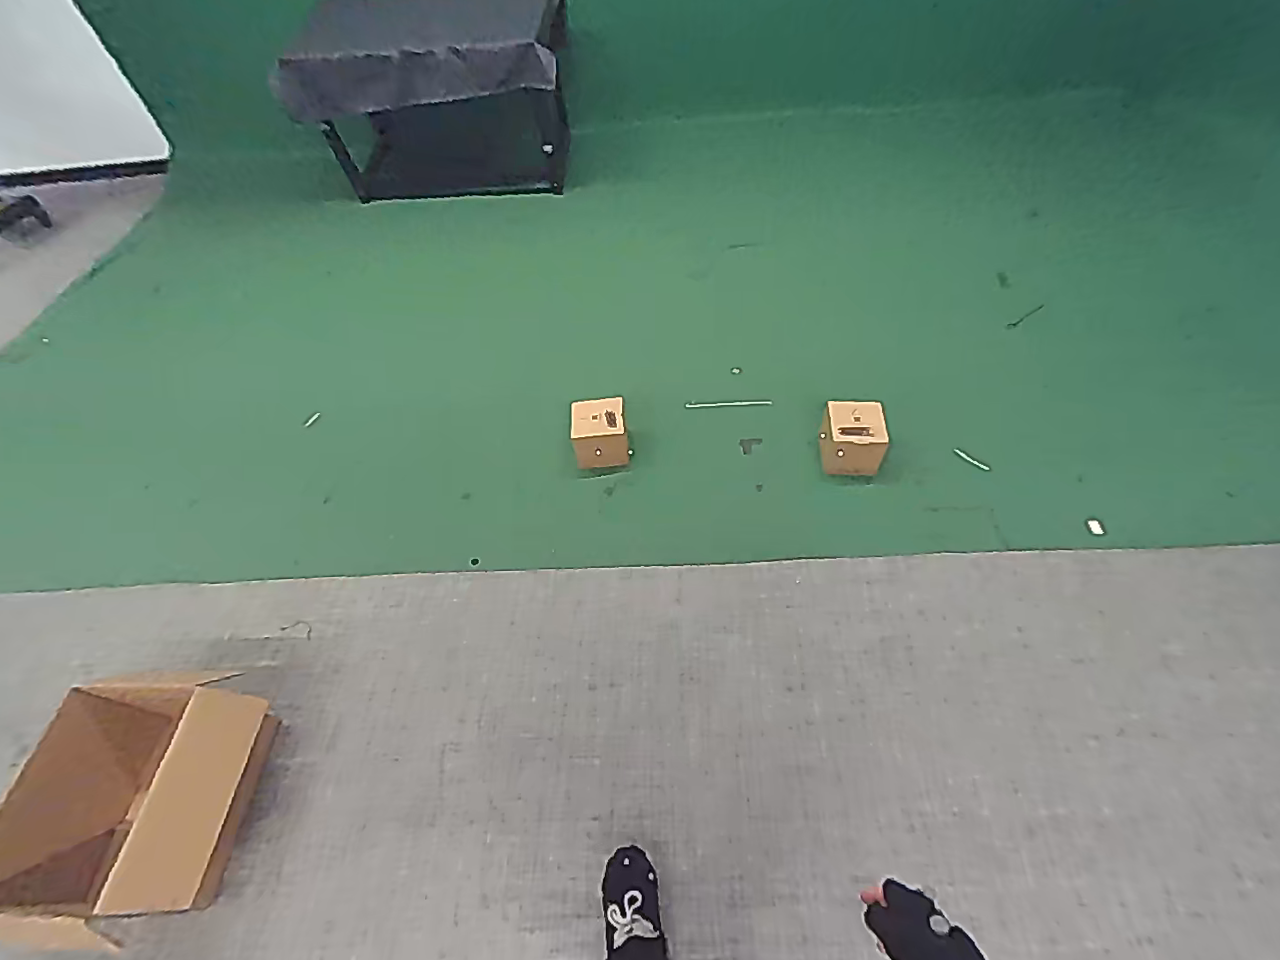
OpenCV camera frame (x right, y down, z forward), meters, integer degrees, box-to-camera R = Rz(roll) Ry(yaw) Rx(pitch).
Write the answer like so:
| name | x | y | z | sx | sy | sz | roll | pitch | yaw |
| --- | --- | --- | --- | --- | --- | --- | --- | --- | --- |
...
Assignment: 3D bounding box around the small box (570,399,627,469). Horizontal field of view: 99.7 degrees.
| name | x | y | z | sx | sy | sz | roll | pitch | yaw |
| --- | --- | --- | --- | --- | --- | --- | --- | --- | --- |
| small box | -0.135 | -0.153 | 1.843 | 0.179 | 0.176 | 0.168 | -5 | 53 | 3 |
